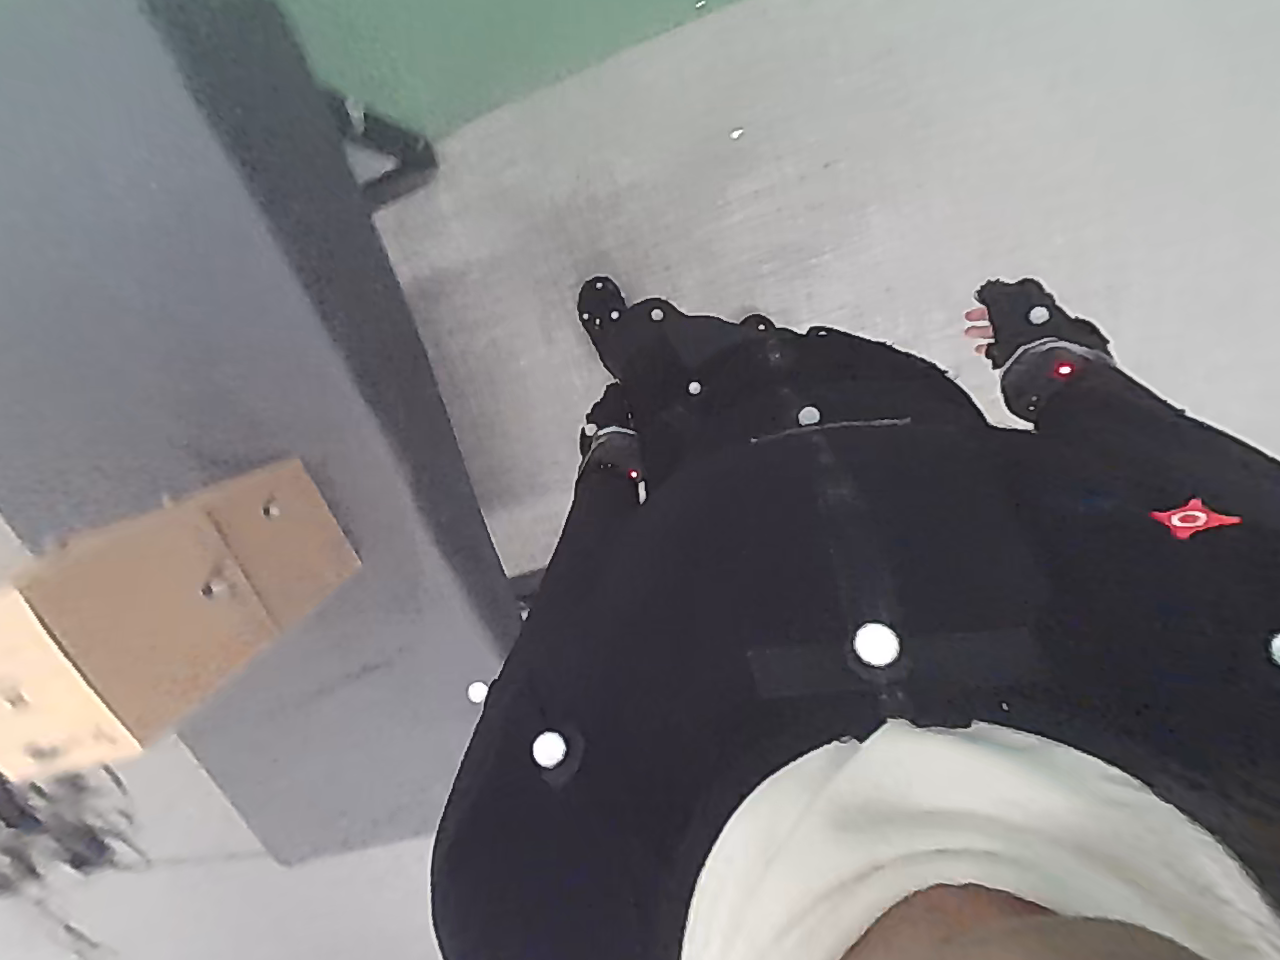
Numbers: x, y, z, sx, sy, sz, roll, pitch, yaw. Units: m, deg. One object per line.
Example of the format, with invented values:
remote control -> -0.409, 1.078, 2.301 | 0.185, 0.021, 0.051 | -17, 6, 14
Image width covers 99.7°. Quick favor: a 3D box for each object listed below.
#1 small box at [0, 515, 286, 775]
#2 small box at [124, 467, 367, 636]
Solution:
small box -> -0.513, 0.149, 0.541 | 0.168, 0.176, 0.179 | -17, 107, 12
small box -> -0.500, 0.097, 0.696 | 0.168, 0.176, 0.179 | -18, 109, 13
